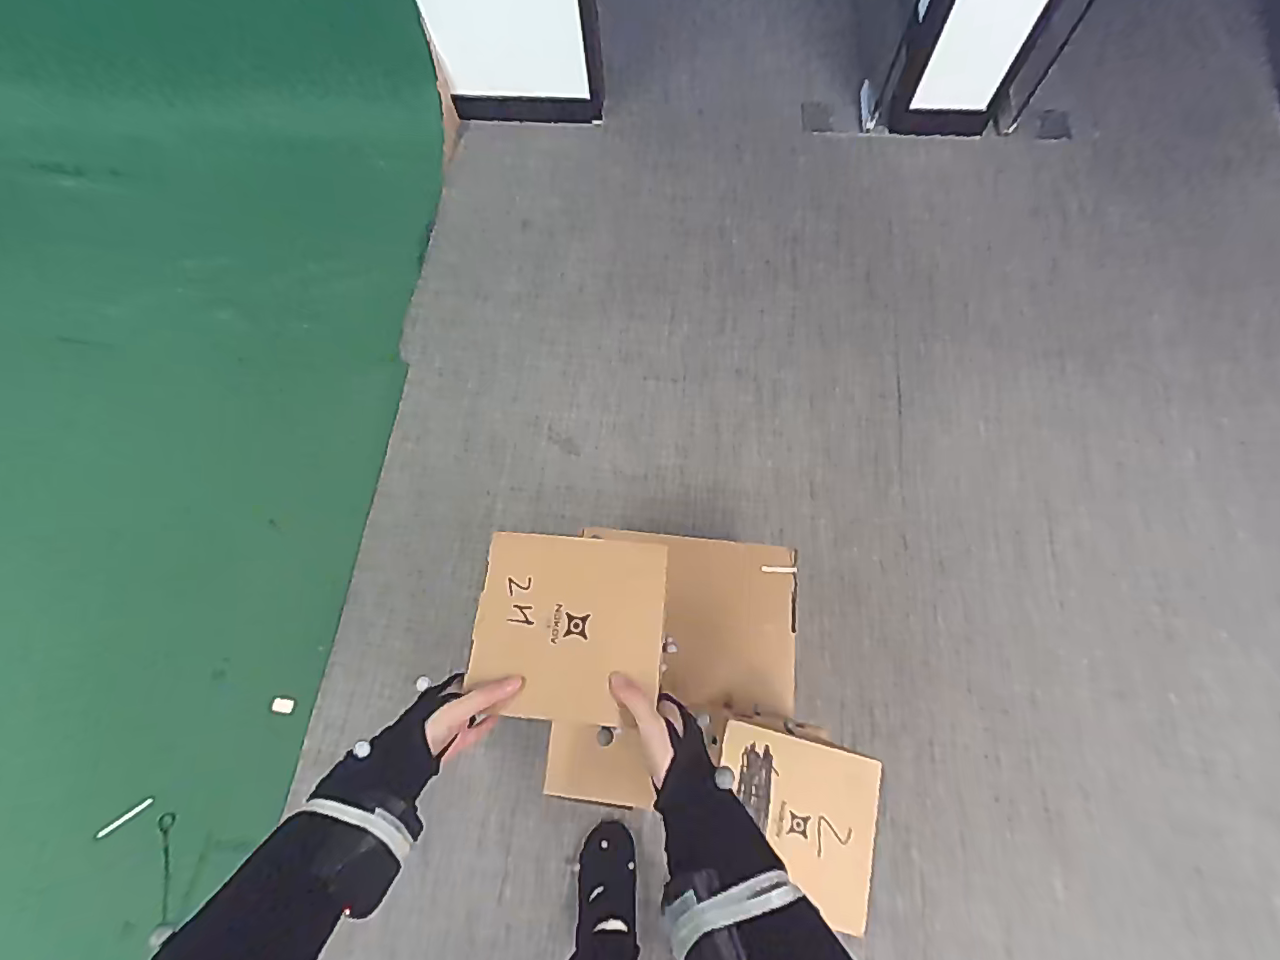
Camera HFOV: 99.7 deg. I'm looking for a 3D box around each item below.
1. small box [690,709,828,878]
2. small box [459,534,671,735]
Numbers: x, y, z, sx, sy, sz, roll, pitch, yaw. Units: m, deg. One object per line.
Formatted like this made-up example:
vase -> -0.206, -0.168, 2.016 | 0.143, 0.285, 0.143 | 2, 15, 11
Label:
small box -> 0.168, 0.446, 0.802 | 0.168, 0.176, 0.179 | 8, 70, 6
small box -> -0.062, 0.166, 0.571 | 0.179, 0.176, 0.168 | 4, 67, 5
